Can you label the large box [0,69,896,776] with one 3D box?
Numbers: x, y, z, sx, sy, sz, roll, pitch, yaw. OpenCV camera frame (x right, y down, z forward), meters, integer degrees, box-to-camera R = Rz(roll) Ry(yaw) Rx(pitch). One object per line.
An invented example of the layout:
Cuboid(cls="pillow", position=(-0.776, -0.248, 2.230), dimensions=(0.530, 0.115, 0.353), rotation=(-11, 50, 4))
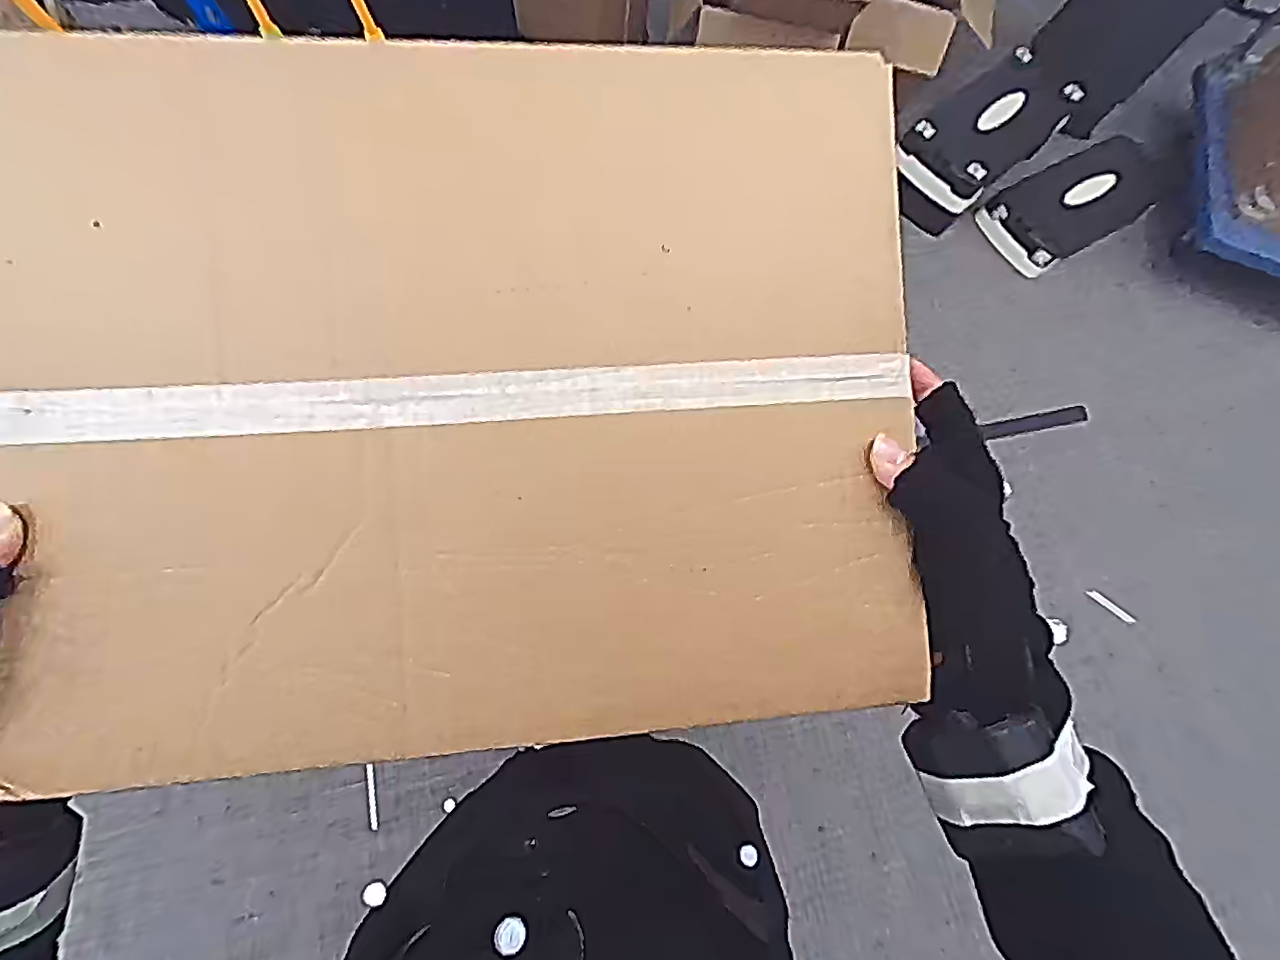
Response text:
Cuboid(cls="large box", position=(-0.089, -0.037, 0.401), dimensions=(0.408, 0.320, 0.320), rotation=(-3, 89, -6))
